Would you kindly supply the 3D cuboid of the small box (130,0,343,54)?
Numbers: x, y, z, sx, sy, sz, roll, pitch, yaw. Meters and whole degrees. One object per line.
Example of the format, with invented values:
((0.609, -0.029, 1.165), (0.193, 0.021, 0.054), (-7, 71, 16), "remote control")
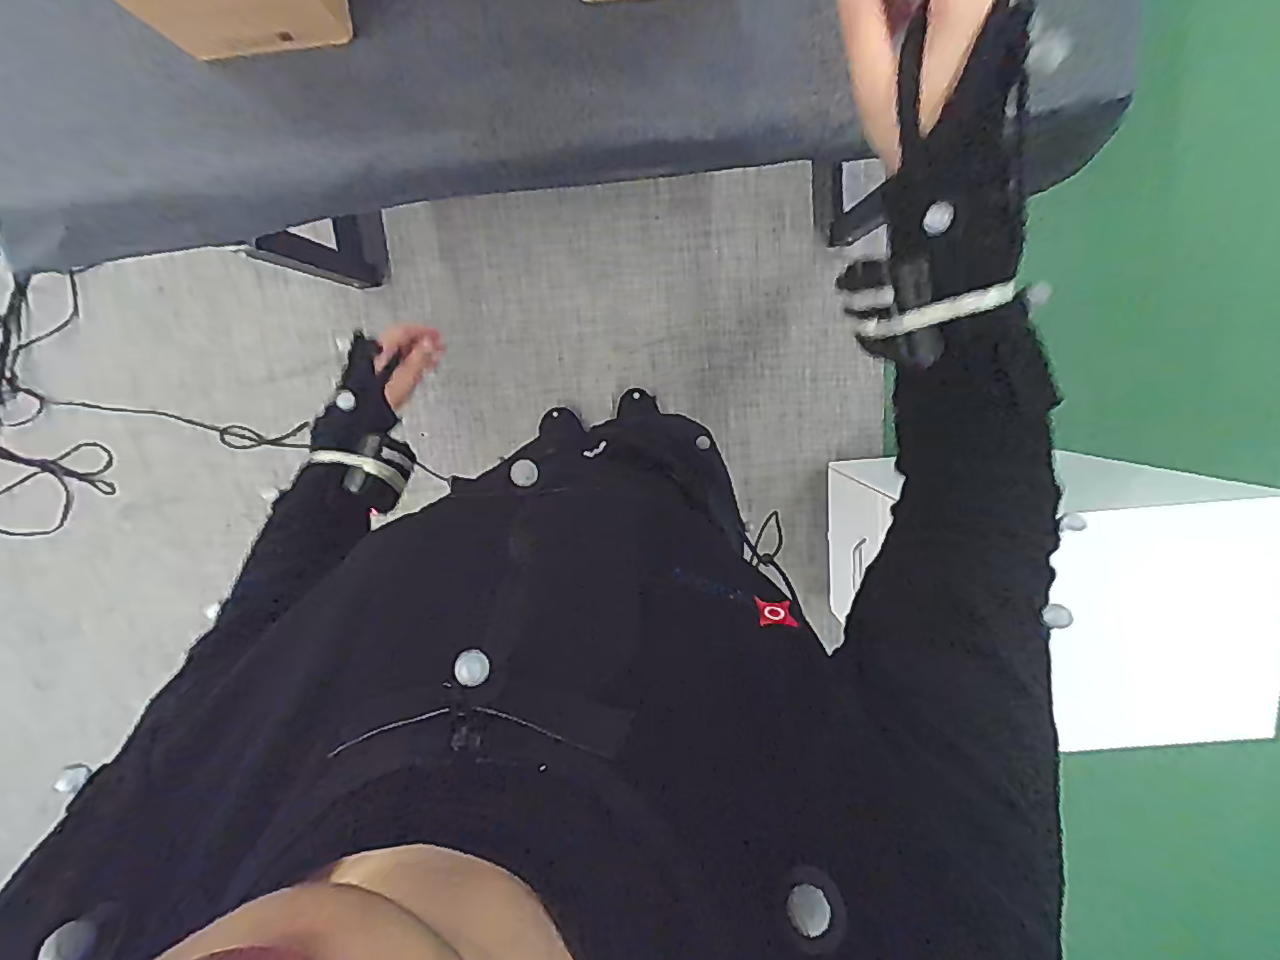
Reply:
((-0.380, -0.504, 0.448), (0.168, 0.176, 0.179), (-6, 100, 0), "small box")
